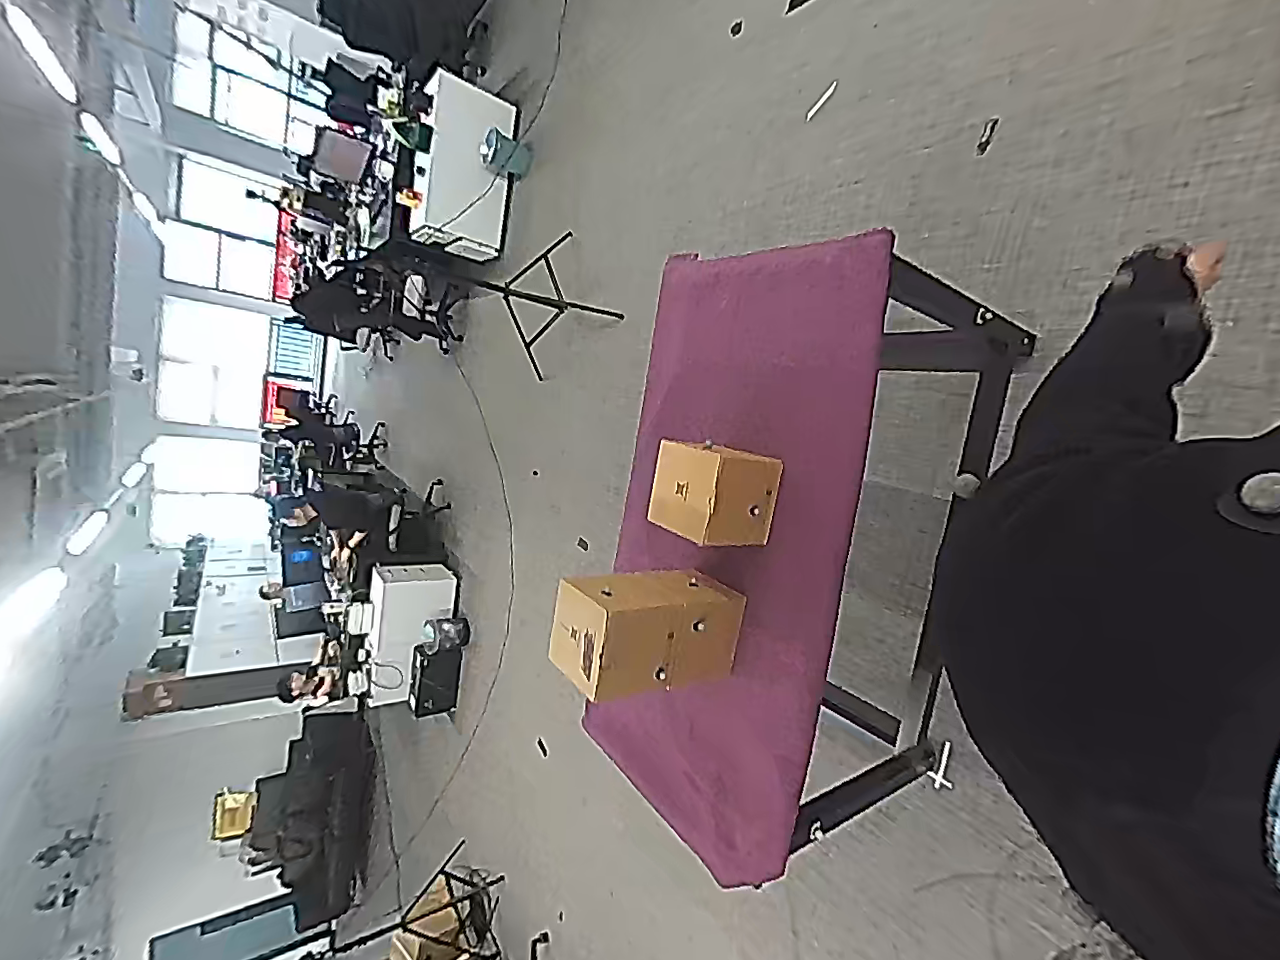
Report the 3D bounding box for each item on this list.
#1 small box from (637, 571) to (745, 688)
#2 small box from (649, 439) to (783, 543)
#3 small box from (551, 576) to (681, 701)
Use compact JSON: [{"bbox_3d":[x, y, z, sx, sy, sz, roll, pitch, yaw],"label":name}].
[{"bbox_3d":[0.092,0.294,1.107,0.168,0.176,0.179,21,104,53],"label":"small box"},{"bbox_3d":[0.147,0.021,1.058,0.179,0.176,0.168,21,104,53],"label":"small box"},{"bbox_3d":[-0.045,0.283,1.015,0.179,0.176,0.168,18,101,53],"label":"small box"}]
